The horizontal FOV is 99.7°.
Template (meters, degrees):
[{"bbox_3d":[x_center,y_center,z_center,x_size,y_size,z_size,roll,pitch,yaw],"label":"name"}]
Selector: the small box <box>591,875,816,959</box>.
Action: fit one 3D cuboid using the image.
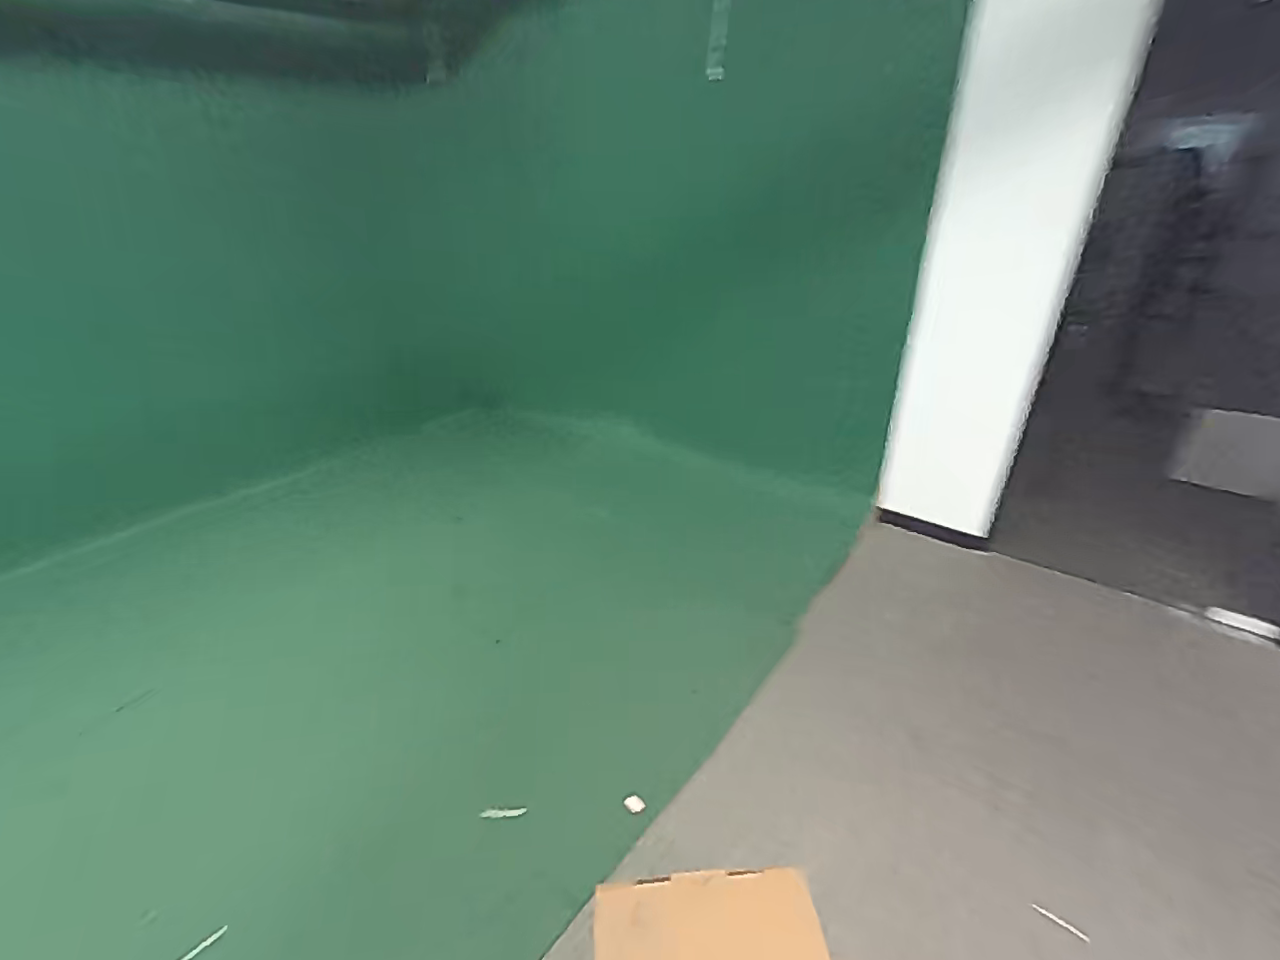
[{"bbox_3d":[0.047,0.432,0.396,0.168,0.176,0.179,-3,31,-4],"label":"small box"}]
